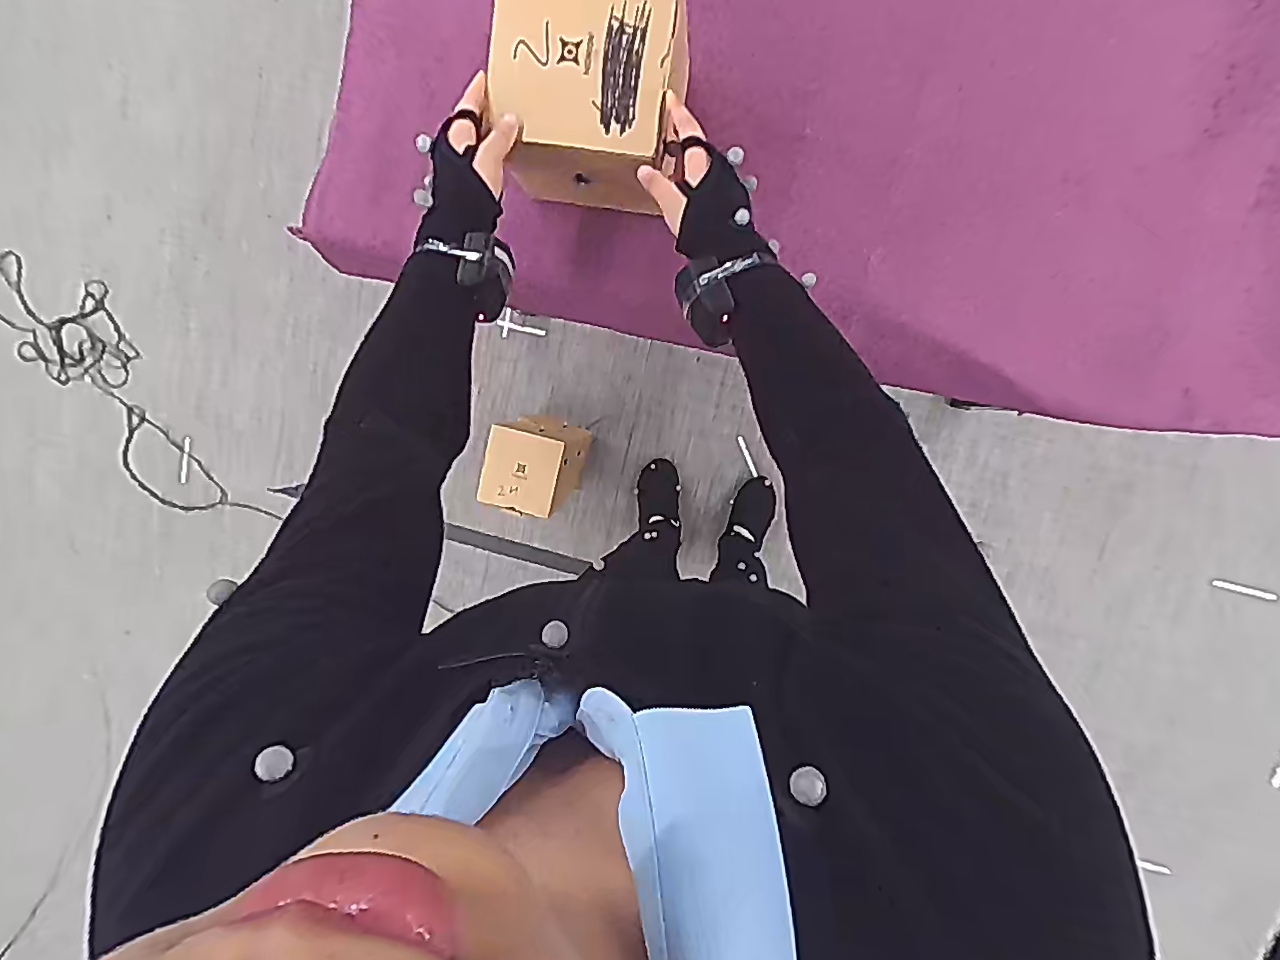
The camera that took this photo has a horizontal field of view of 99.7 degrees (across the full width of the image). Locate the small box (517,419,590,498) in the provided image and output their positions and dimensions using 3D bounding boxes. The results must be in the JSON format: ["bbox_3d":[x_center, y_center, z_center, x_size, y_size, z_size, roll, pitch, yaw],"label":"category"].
[{"bbox_3d":[-0.239,-0.050,1.400,0.168,0.176,0.179,20,99,2],"label":"small box"}]

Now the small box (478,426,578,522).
[{"bbox_3d":[-0.248,-0.022,1.238,0.168,0.176,0.179,15,99,3],"label":"small box"}]
